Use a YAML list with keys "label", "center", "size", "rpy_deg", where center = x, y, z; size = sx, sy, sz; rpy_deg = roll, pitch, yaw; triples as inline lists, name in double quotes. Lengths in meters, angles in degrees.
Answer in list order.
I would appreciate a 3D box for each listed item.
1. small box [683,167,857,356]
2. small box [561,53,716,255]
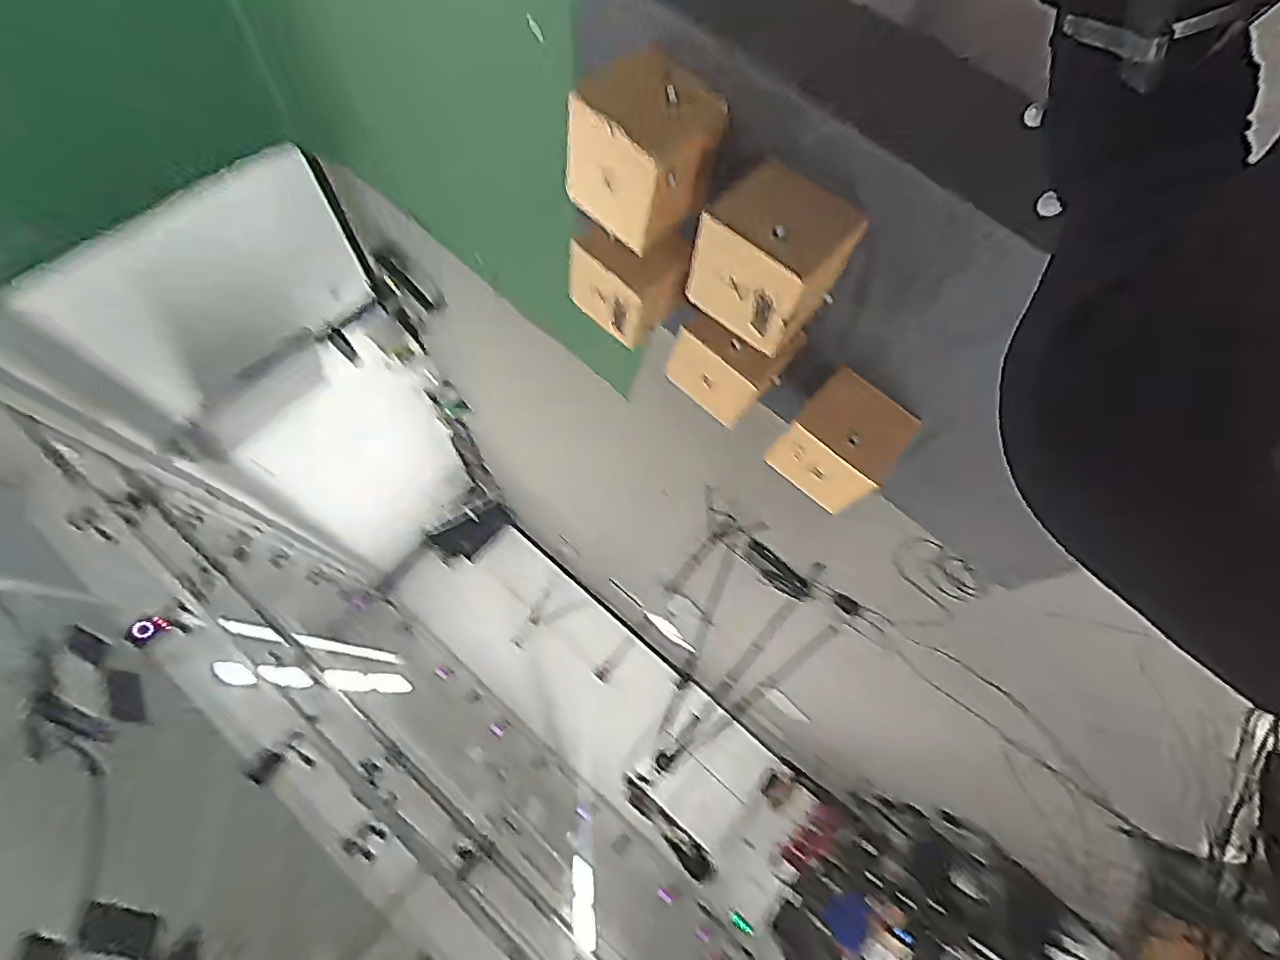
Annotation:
- label: "small box"
  center: [0.192, -0.332, 0.818]
  size: [0.179, 0.176, 0.168]
  rpy_deg: [38, 159, 12]
- label: "small box"
  center: [-0.005, -0.503, 0.842]
  size: [0.168, 0.176, 0.179]
  rpy_deg: [40, 159, 6]
